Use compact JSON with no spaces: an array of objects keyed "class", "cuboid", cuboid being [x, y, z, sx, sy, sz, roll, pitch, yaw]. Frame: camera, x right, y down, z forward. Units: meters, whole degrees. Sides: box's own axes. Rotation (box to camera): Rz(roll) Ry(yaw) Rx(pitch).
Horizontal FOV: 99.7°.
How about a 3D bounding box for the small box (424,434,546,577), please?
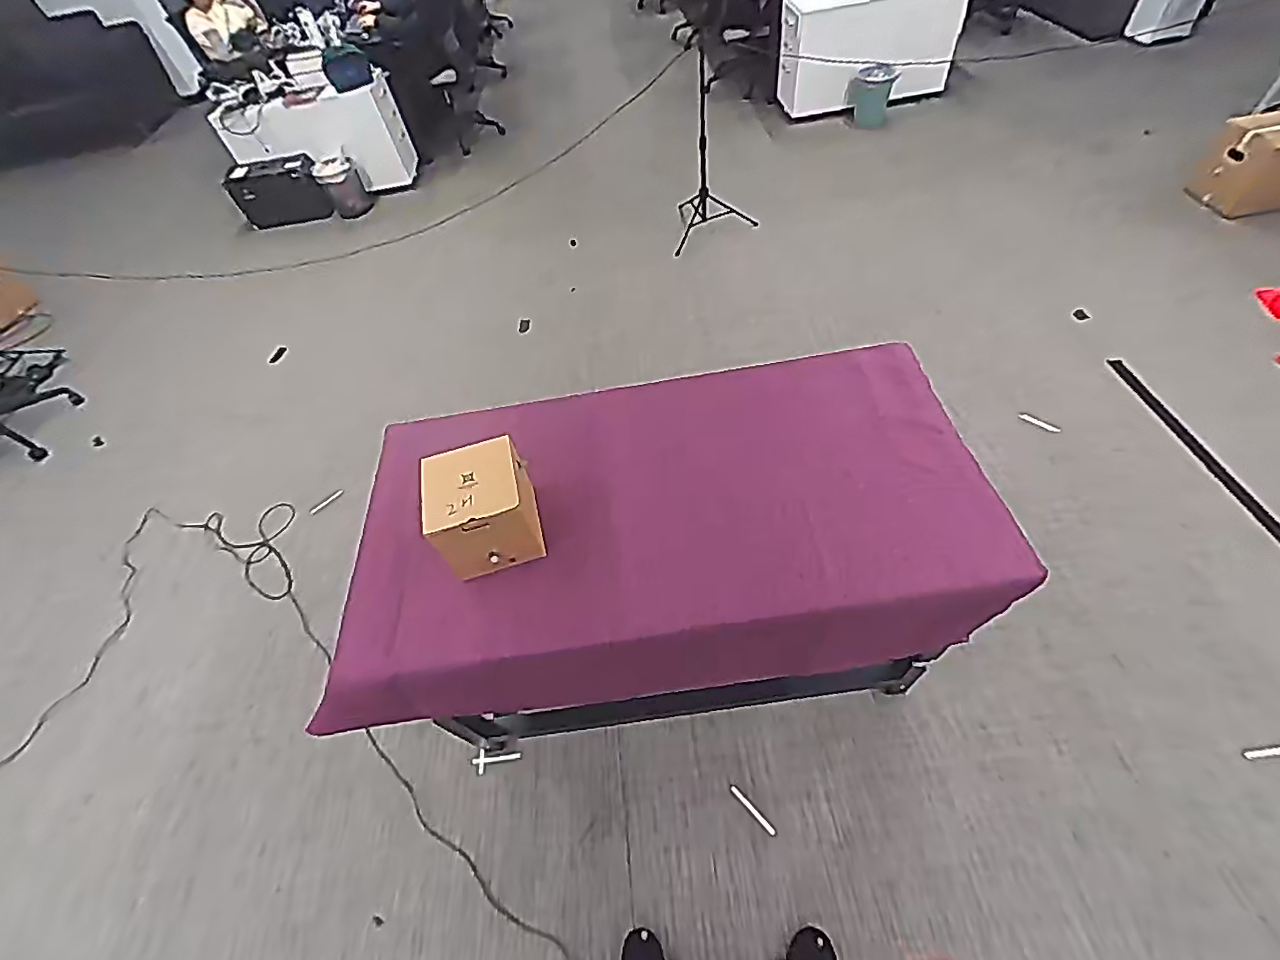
[{"class":"small box","cuboid":[-0.282,0.050,0.995,0.168,0.176,0.179,-16,53,-3]}]
